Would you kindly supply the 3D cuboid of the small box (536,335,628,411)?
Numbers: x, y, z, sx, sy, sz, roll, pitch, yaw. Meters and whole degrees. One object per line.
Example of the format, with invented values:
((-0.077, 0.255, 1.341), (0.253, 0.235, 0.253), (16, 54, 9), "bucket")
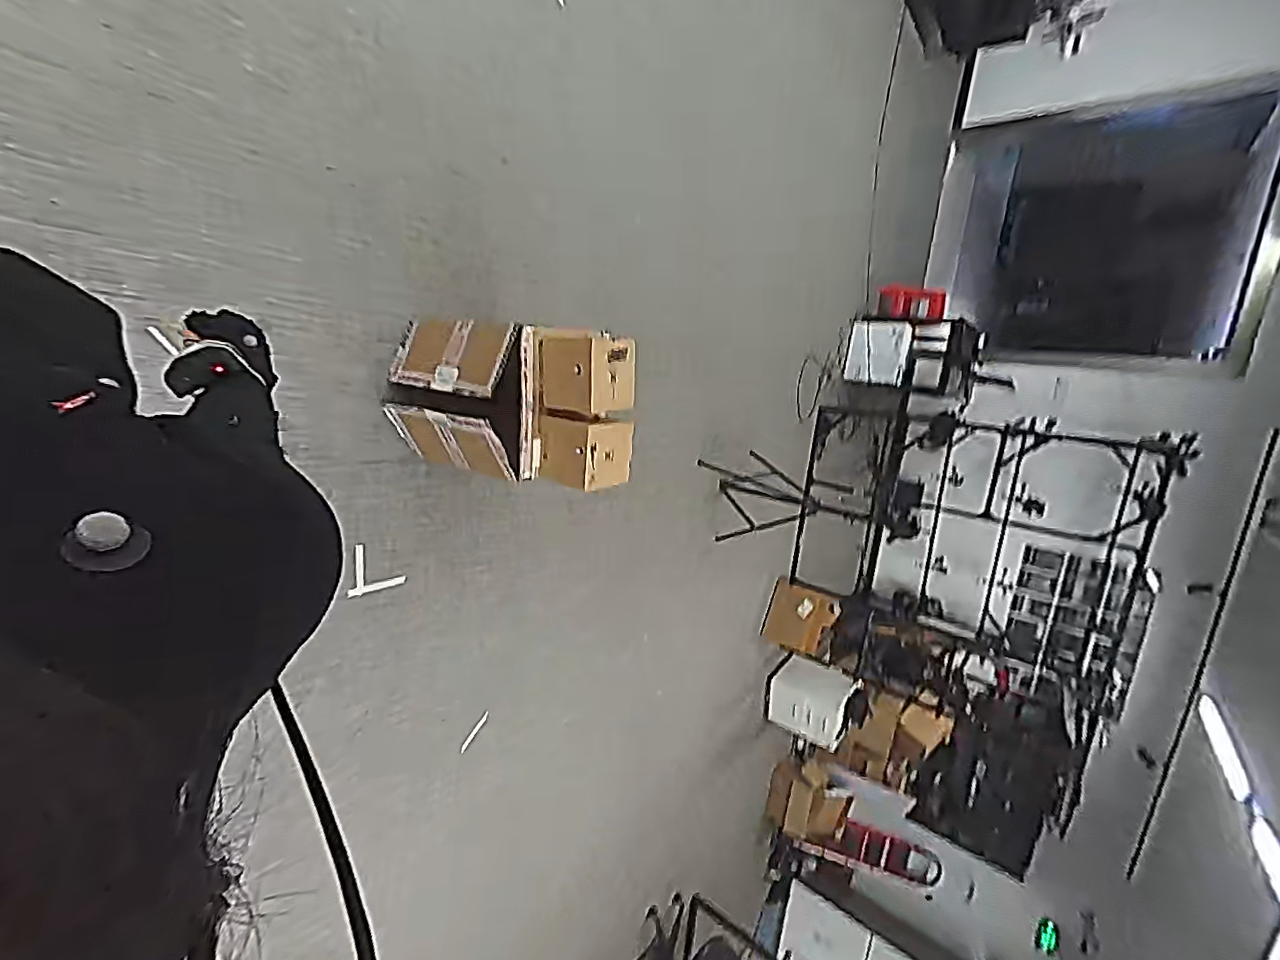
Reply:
((-0.147, -0.272, 1.362), (0.168, 0.176, 0.179), (-17, 114, -51), "small box")

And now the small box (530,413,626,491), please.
((-0.161, -0.080, 1.410), (0.179, 0.176, 0.168), (-13, 113, -52), "small box")
